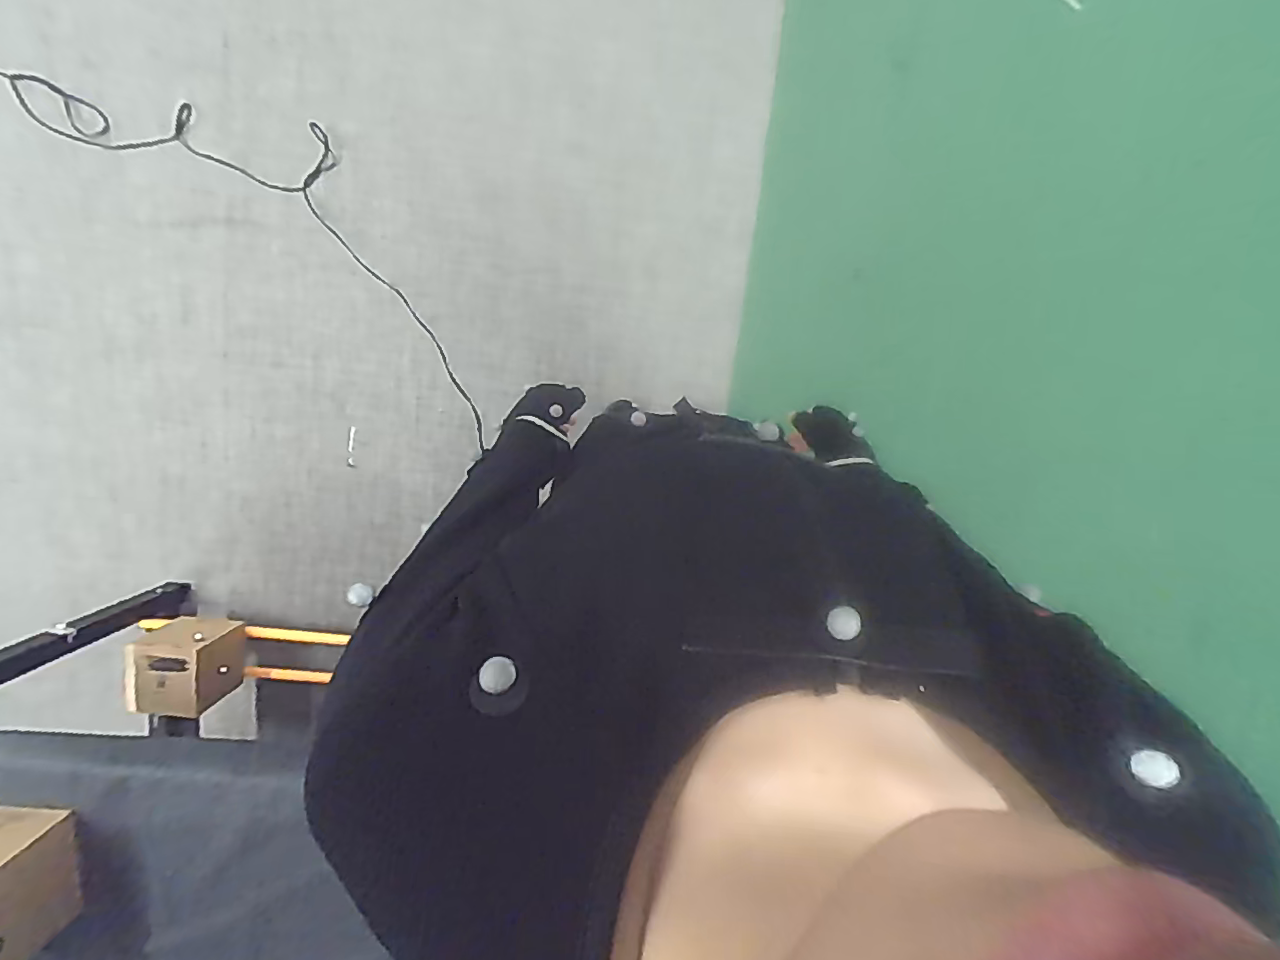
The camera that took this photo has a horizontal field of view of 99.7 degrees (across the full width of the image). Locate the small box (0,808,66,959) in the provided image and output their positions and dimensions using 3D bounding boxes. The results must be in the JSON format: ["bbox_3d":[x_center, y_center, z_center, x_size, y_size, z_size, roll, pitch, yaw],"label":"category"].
[{"bbox_3d":[-0.932,0.576,0.721,0.168,0.176,0.179,5,99,-3],"label":"small box"}]
